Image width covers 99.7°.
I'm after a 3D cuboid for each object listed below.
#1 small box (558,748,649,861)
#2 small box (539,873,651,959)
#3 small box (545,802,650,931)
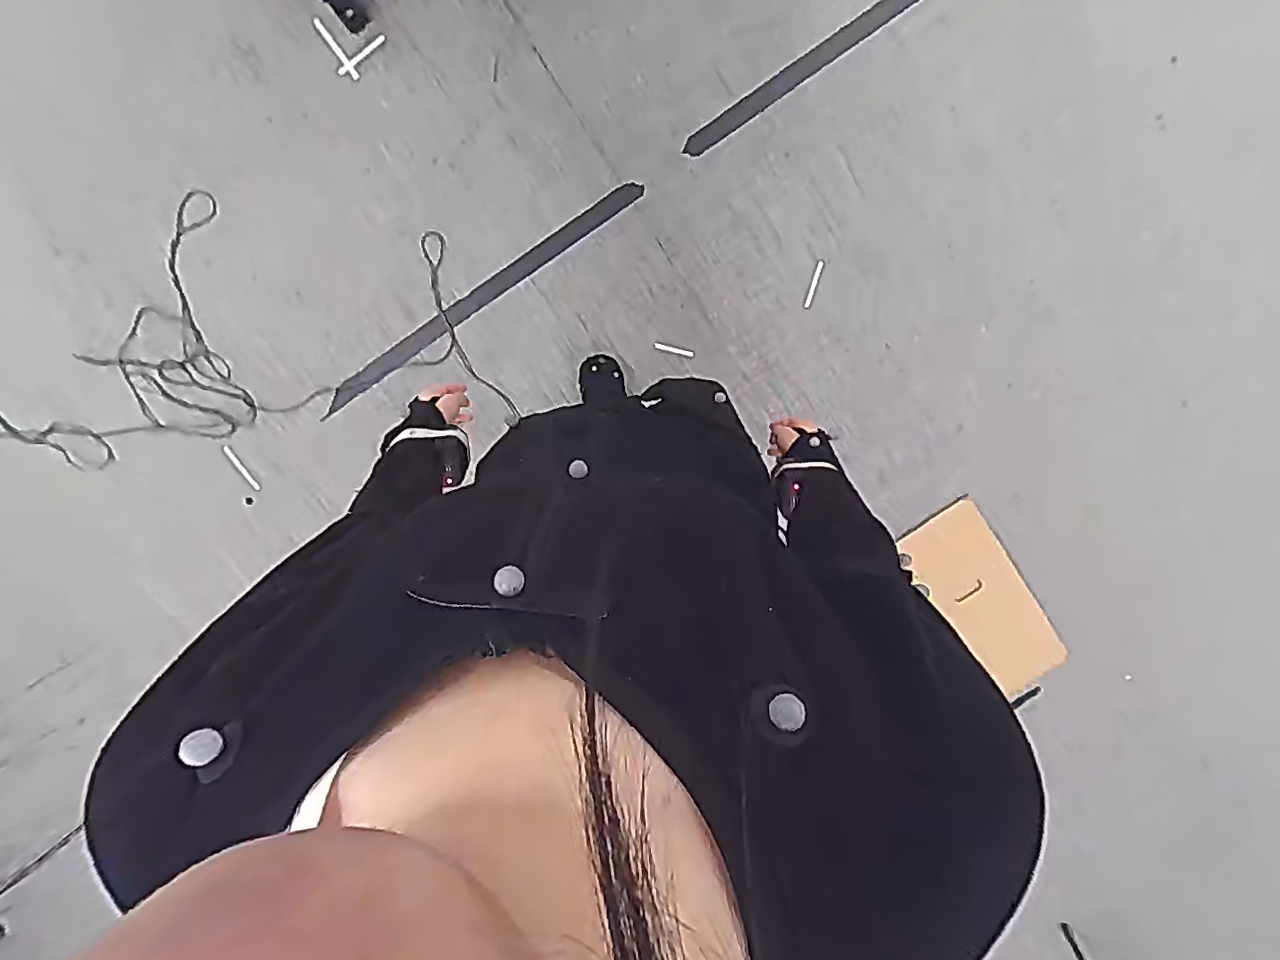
[{"bbox_3d":[-0.079,0.757,1.237,0.168,0.176,0.179,14,100,-3],"label":"small box"},{"bbox_3d":[-0.082,0.818,0.916,0.168,0.176,0.179,14,101,-3],"label":"small box"},{"bbox_3d":[-0.079,0.791,1.077,0.168,0.176,0.179,14,101,-3],"label":"small box"}]
